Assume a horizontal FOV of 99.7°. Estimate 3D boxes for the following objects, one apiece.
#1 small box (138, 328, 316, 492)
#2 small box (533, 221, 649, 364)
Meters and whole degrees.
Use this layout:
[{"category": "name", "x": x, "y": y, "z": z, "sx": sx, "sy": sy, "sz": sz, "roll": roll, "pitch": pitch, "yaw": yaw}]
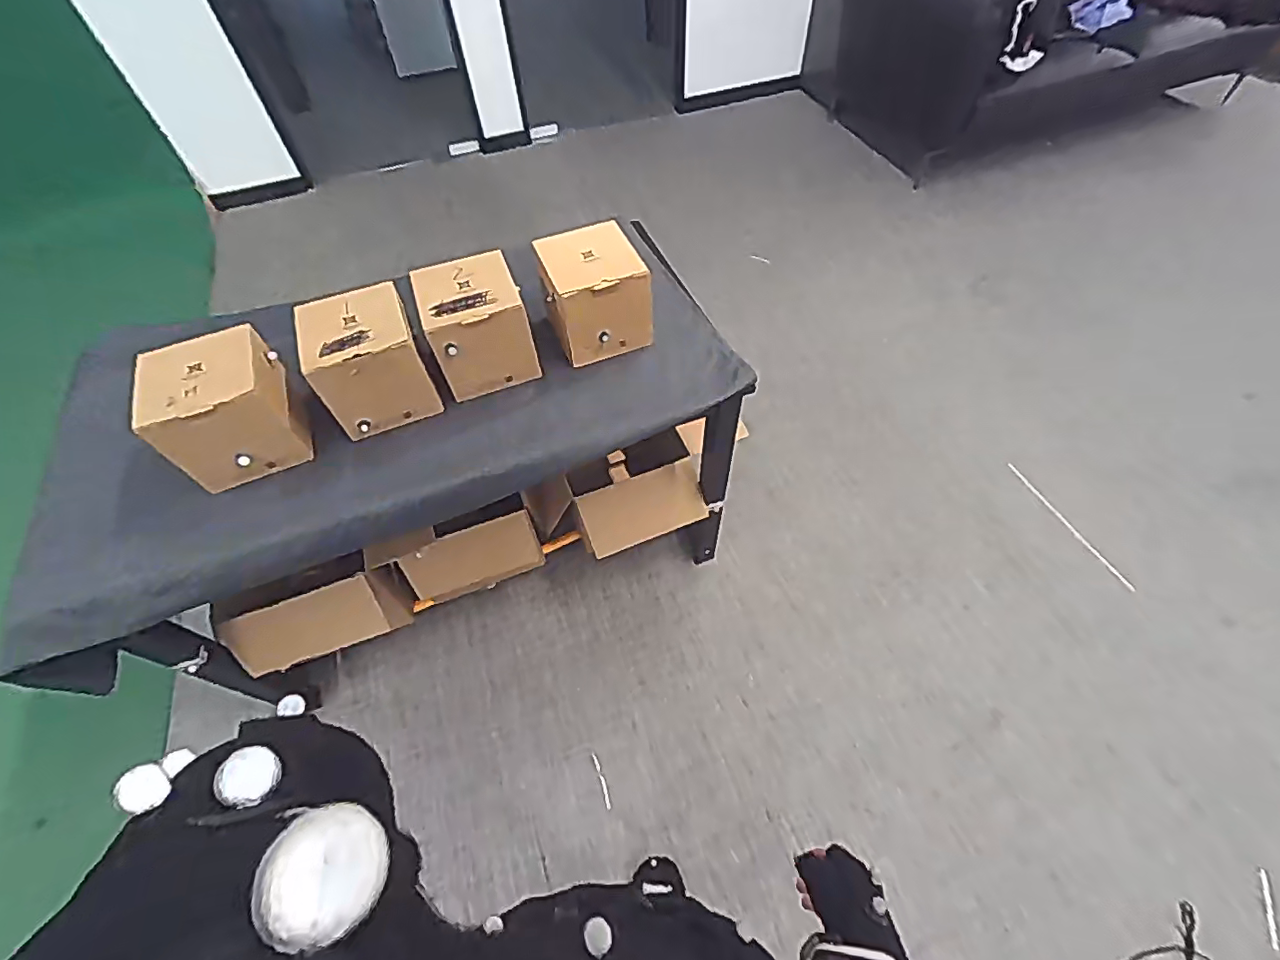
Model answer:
[{"category": "small box", "x": -0.668, "y": -0.112, "z": 0.891, "sx": 0.168, "sy": 0.176, "sz": 0.179, "roll": -24, "pitch": 58, "yaw": -12}, {"category": "small box", "x": -0.090, "y": -0.354, "z": 1.028, "sx": 0.168, "sy": 0.176, "sz": 0.179, "roll": -21, "pitch": 58, "yaw": -11}]
